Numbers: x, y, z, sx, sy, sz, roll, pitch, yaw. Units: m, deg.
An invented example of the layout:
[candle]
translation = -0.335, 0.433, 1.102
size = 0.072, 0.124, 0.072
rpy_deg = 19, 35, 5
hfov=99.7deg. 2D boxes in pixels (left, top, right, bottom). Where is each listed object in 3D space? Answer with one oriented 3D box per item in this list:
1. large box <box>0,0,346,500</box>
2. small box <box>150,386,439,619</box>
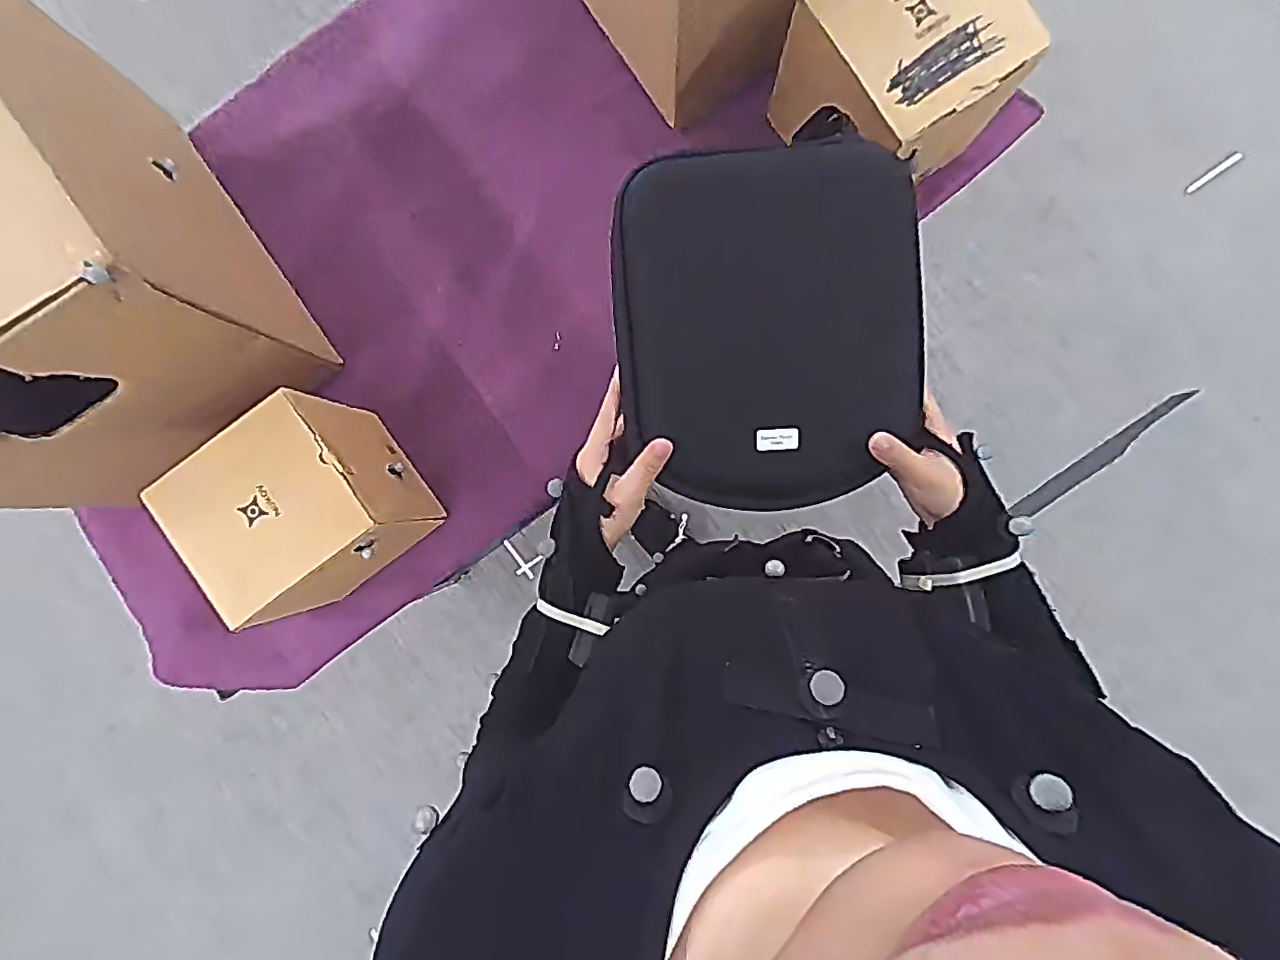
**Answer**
[large box]
translation = -0.611, -0.226, 0.550
size = 0.320, 0.320, 0.408
rpy_deg = -36, 90, 0
[small box]
translation = -0.365, 0.025, 0.606
size = 0.179, 0.176, 0.168
rpy_deg = -37, 86, 1
